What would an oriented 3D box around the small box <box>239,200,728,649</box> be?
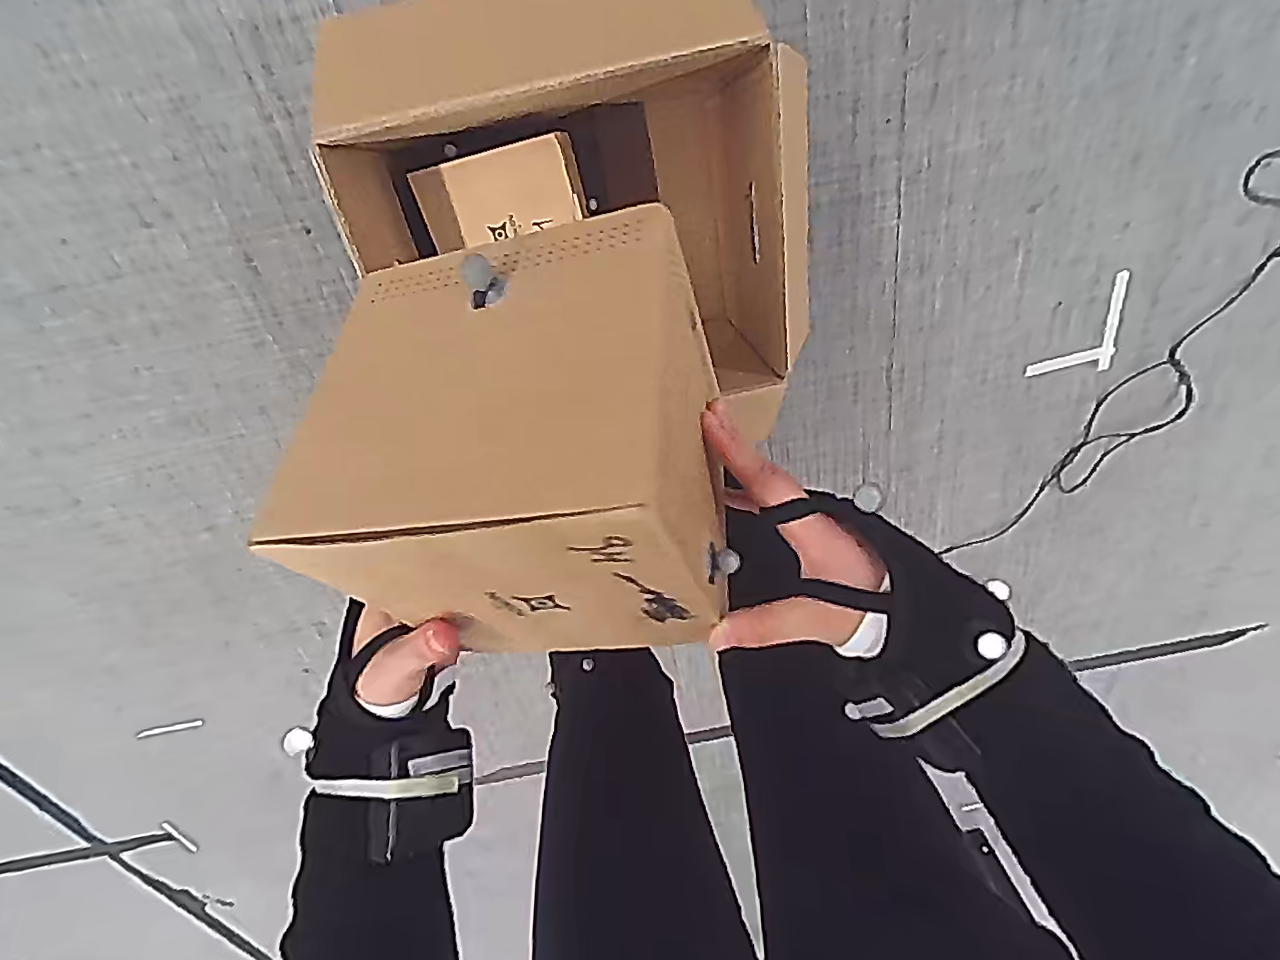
[{"bbox_3d":[-0.050,-0.015,0.295,0.179,0.176,0.168,-6,148,17],"label":"small box"}]
